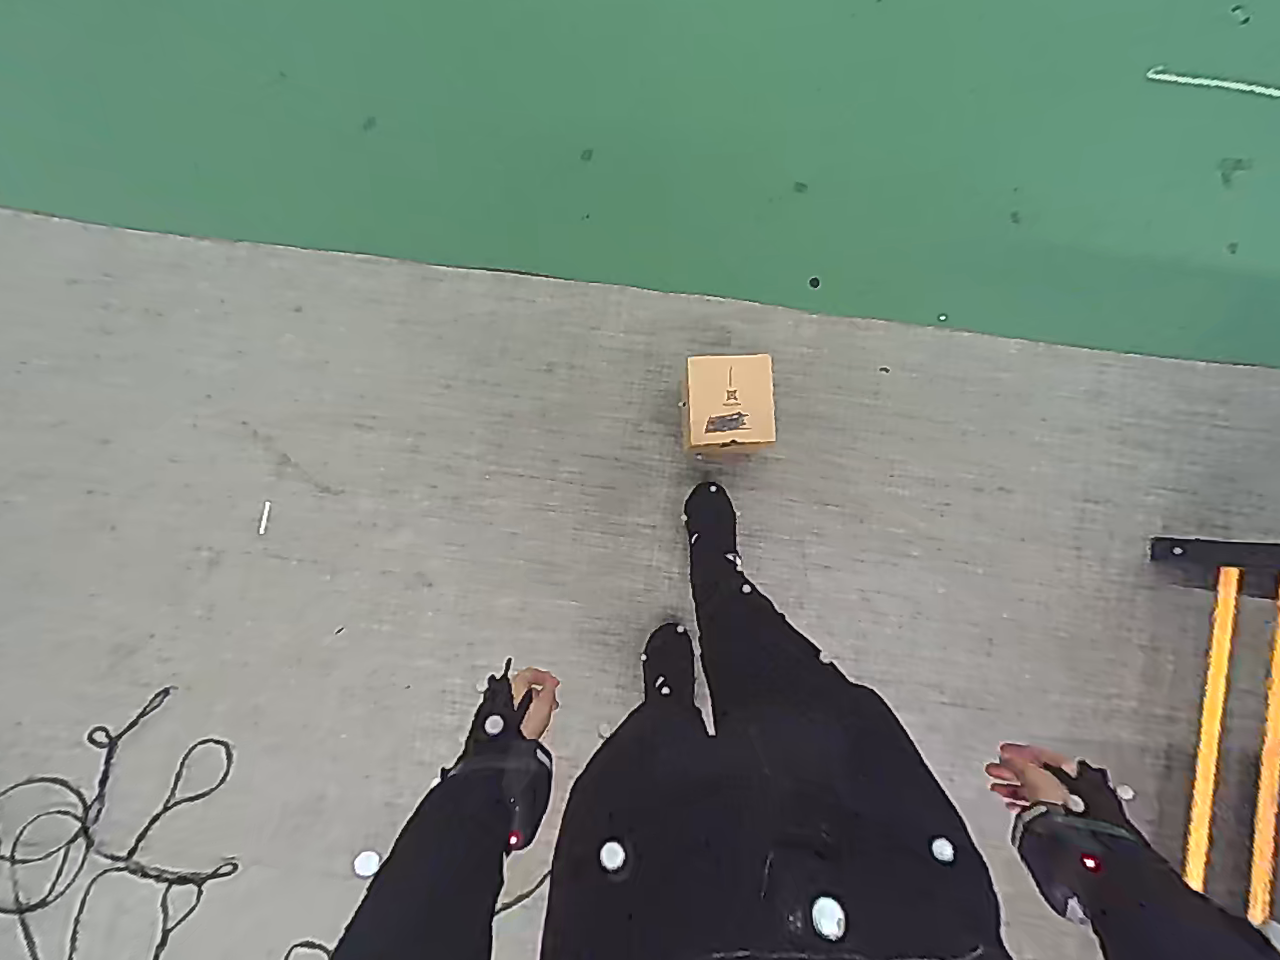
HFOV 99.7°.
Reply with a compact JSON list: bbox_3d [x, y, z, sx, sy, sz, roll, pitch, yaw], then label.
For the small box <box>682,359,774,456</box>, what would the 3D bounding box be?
[{"bbox_3d":[0.177,-0.143,1.127,0.168,0.176,0.179,-2,85,-1],"label":"small box"}]
